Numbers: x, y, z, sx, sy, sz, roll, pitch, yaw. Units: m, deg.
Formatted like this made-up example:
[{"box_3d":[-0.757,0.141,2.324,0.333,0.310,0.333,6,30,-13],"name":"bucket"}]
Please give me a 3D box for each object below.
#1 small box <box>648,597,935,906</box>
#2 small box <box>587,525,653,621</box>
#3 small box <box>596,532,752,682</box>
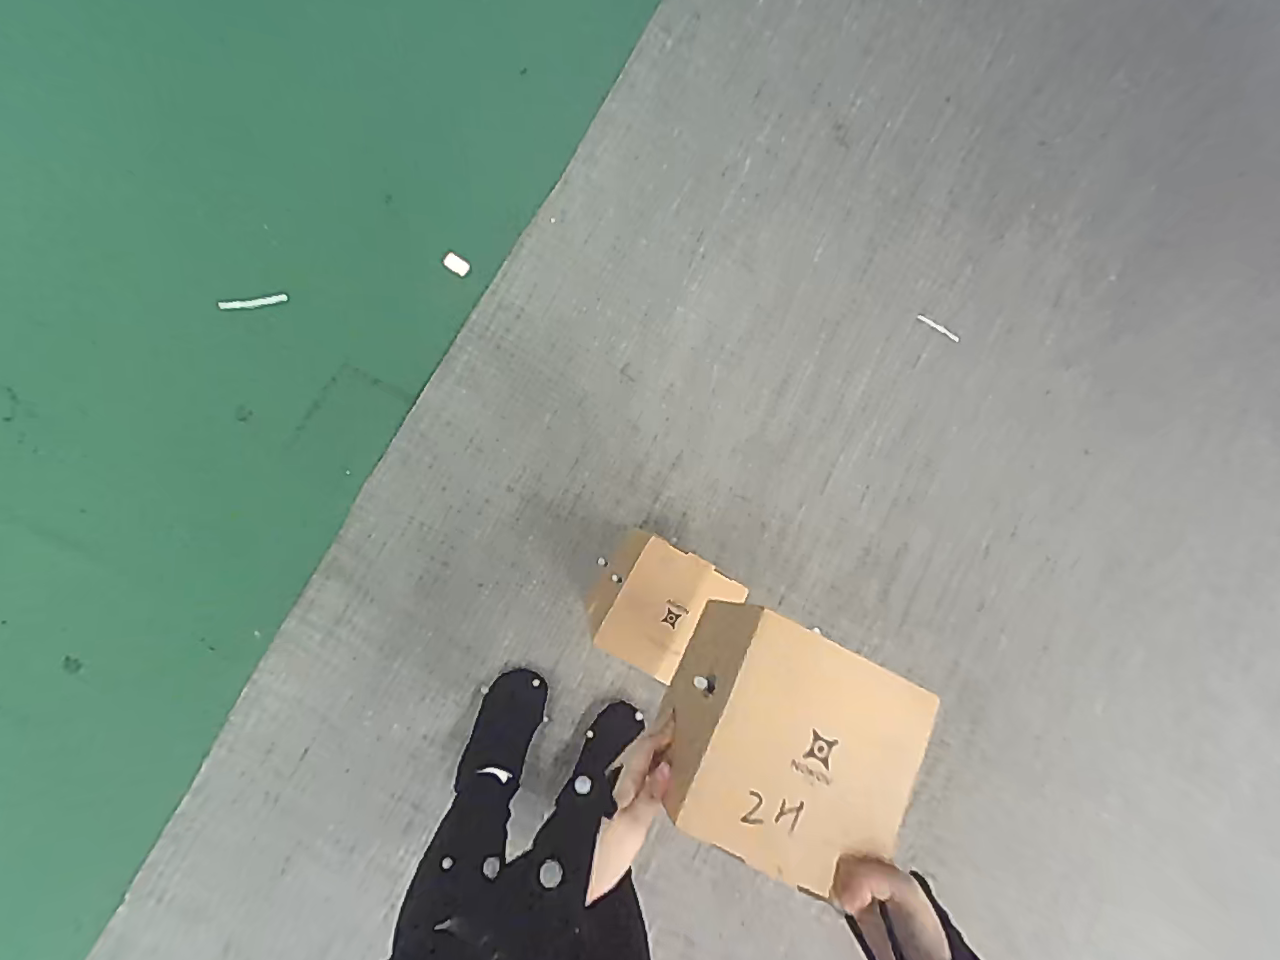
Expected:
[{"box_3d":[0.120,0.218,0.492,0.168,0.176,0.179,27,78,-2],"name":"small box"},{"box_3d":[0.016,0.198,0.991,0.168,0.176,0.179,33,84,-5],"name":"small box"},{"box_3d":[0.040,0.190,0.830,0.168,0.176,0.179,29,84,-4],"name":"small box"}]
